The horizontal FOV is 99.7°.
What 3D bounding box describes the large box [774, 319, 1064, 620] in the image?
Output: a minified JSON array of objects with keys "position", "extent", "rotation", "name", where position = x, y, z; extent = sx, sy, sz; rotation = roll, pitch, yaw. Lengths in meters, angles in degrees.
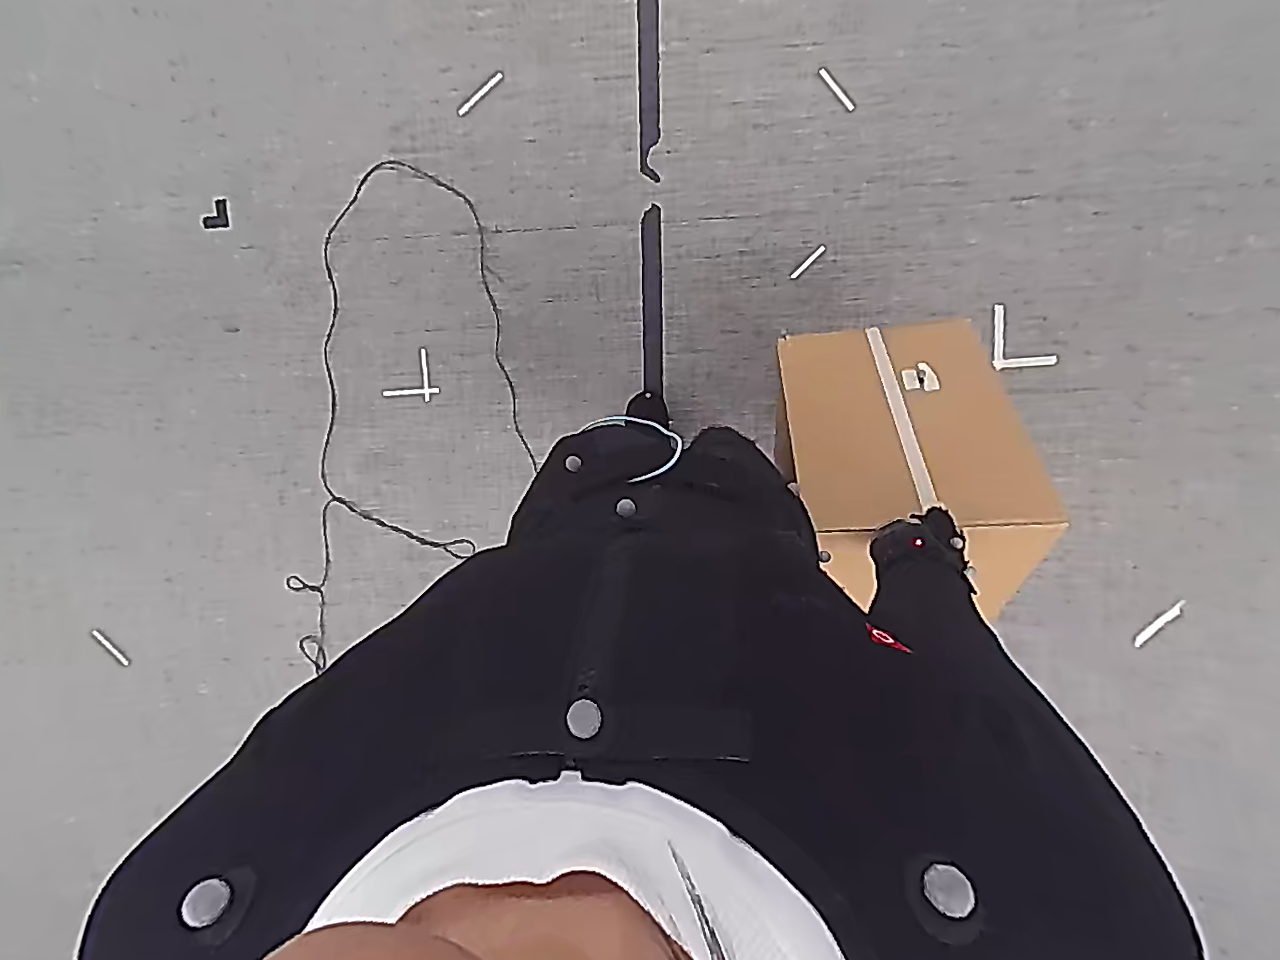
[{"position":[0.408,-0.012,0.923],"extent":[0.320,0.408,0.320],"rotation":[-3,141,8],"name":"large box"}]
